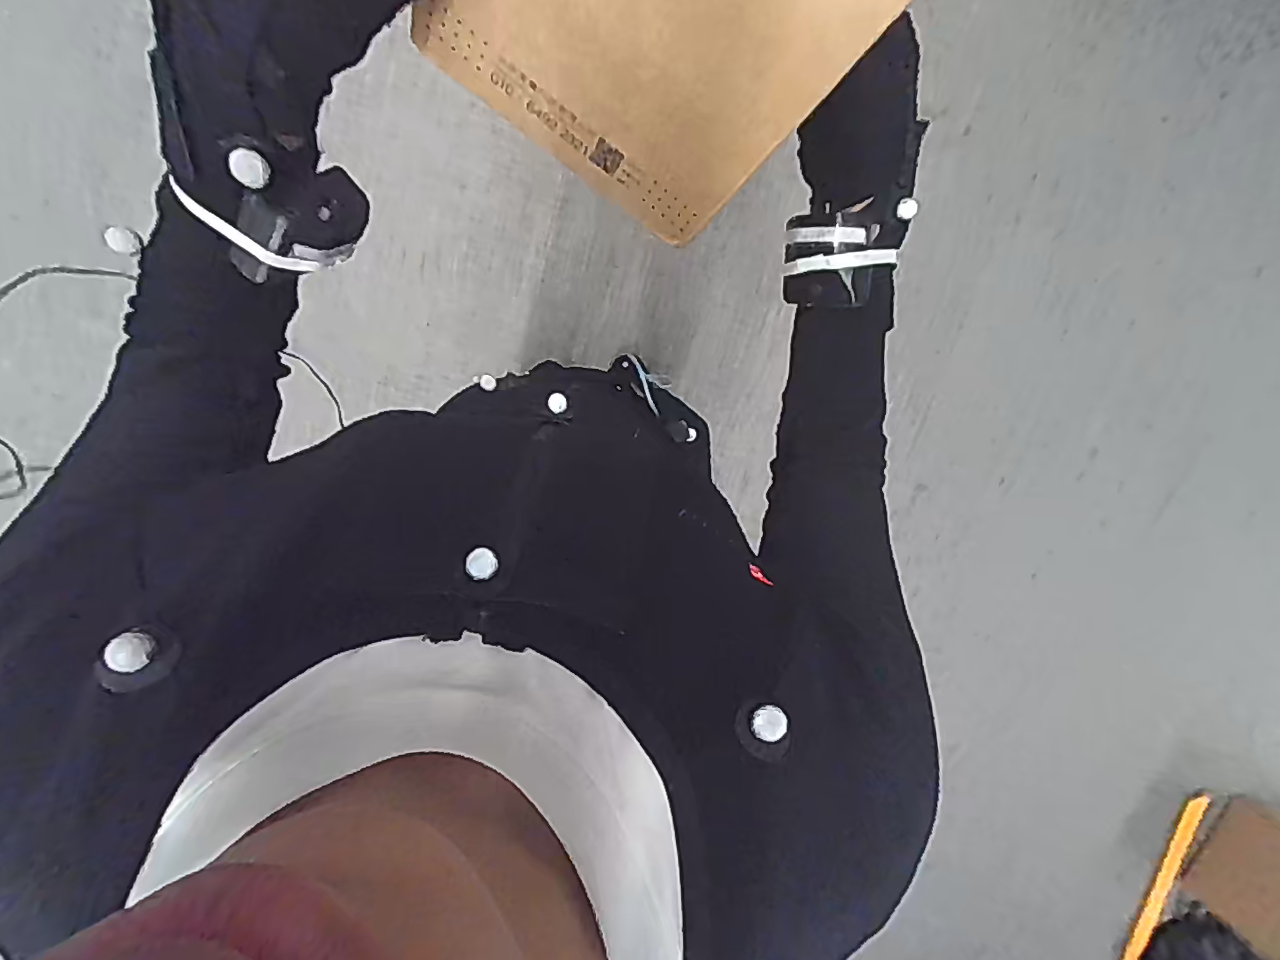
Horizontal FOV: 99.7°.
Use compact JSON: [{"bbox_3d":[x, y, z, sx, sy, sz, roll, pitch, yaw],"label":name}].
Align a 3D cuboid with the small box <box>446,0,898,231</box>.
[{"bbox_3d":[0.027,-0.268,0.256,0.168,0.176,0.179,30,63,-17],"label":"small box"}]
